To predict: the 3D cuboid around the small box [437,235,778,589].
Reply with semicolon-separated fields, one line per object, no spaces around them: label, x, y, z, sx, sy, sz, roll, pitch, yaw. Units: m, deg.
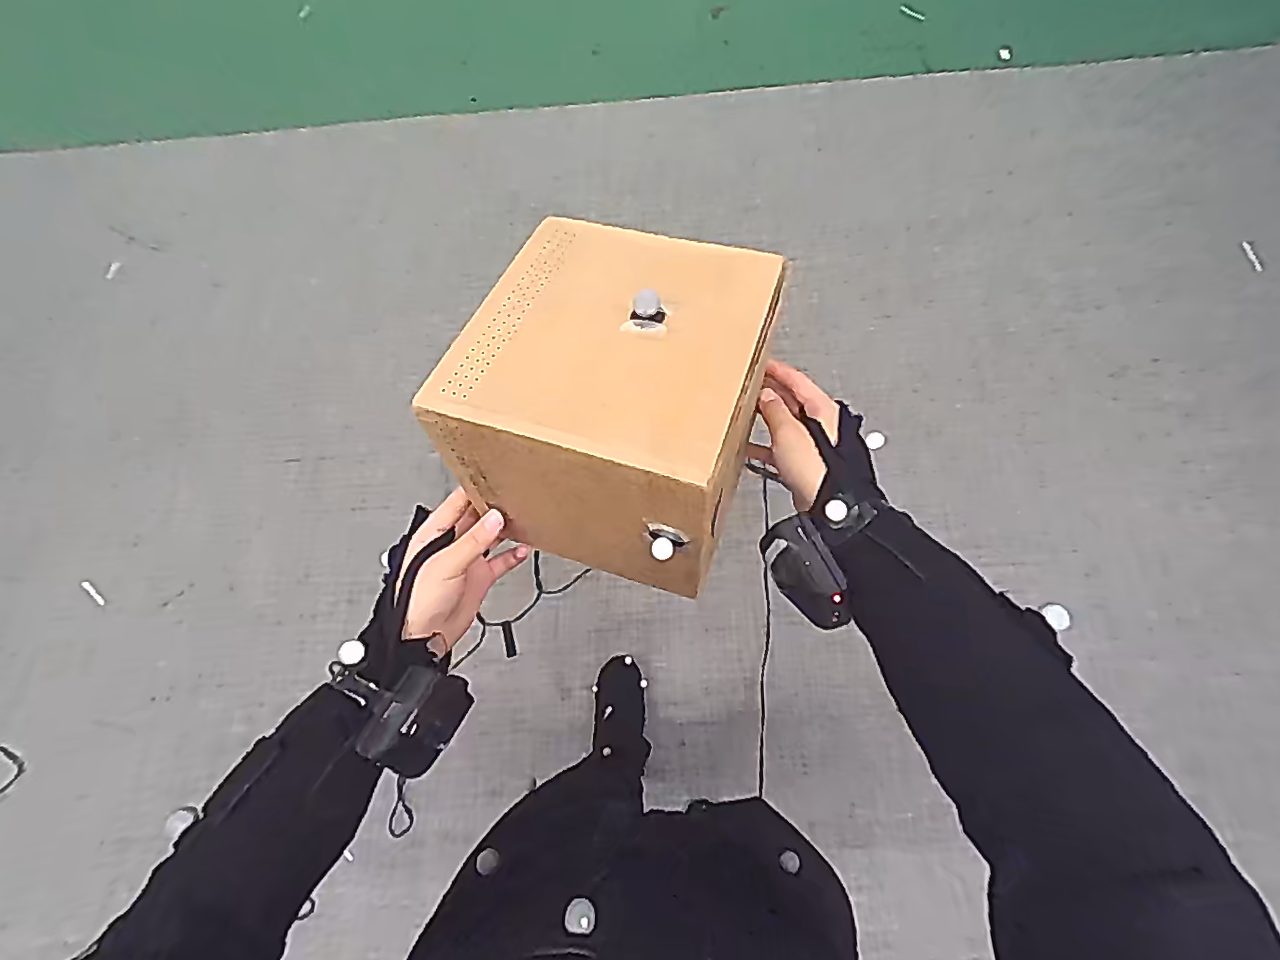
small box;-0.013;-0.050;0.391;0.176;0.168;0.179;14;60;13
